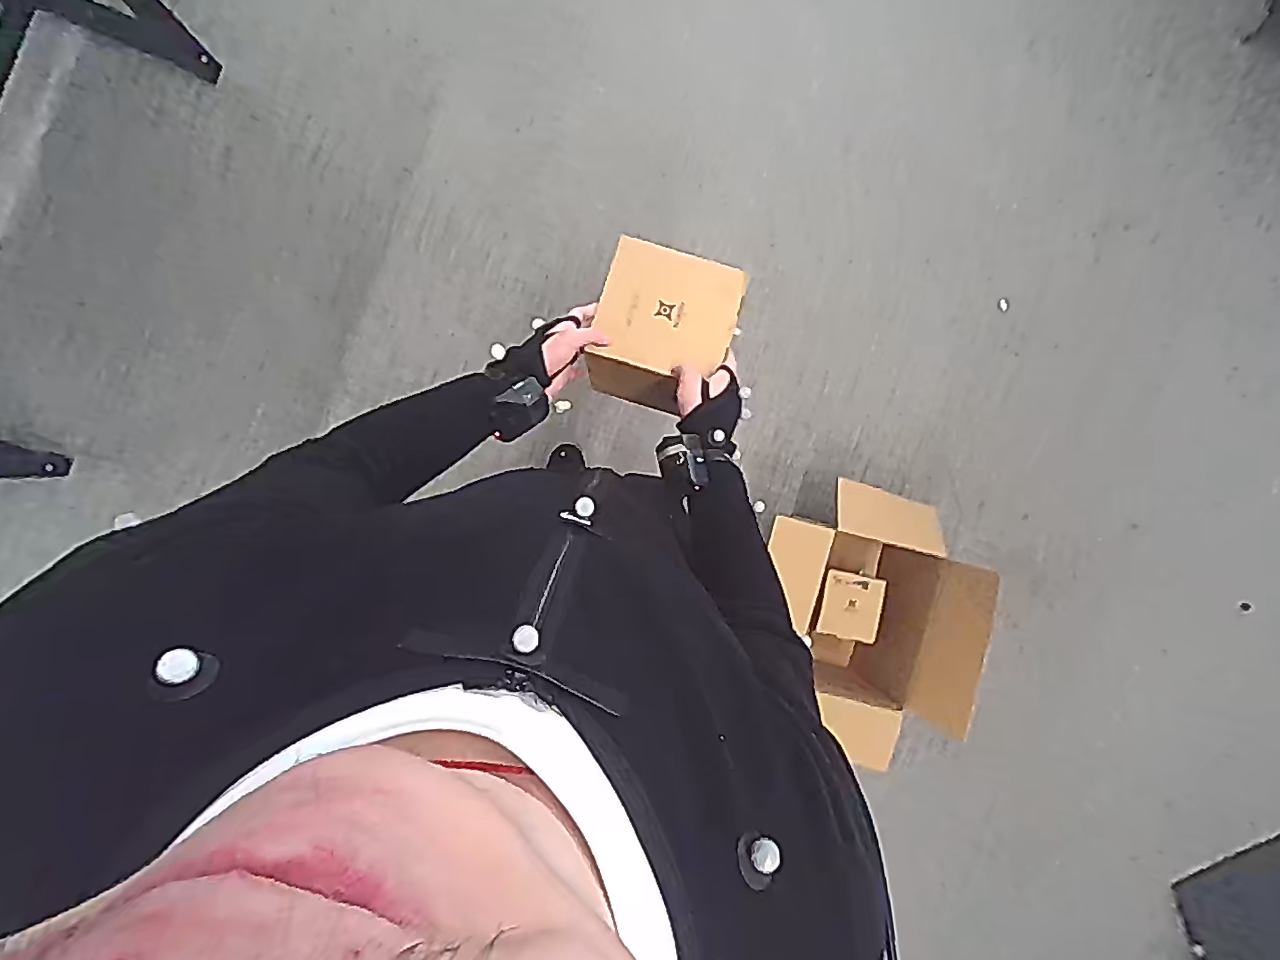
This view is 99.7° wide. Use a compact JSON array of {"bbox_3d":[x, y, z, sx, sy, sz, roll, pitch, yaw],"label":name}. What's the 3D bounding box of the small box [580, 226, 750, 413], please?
[{"bbox_3d":[0.029,-0.207,0.748,0.179,0.176,0.168,18,79,0],"label":"small box"}]
